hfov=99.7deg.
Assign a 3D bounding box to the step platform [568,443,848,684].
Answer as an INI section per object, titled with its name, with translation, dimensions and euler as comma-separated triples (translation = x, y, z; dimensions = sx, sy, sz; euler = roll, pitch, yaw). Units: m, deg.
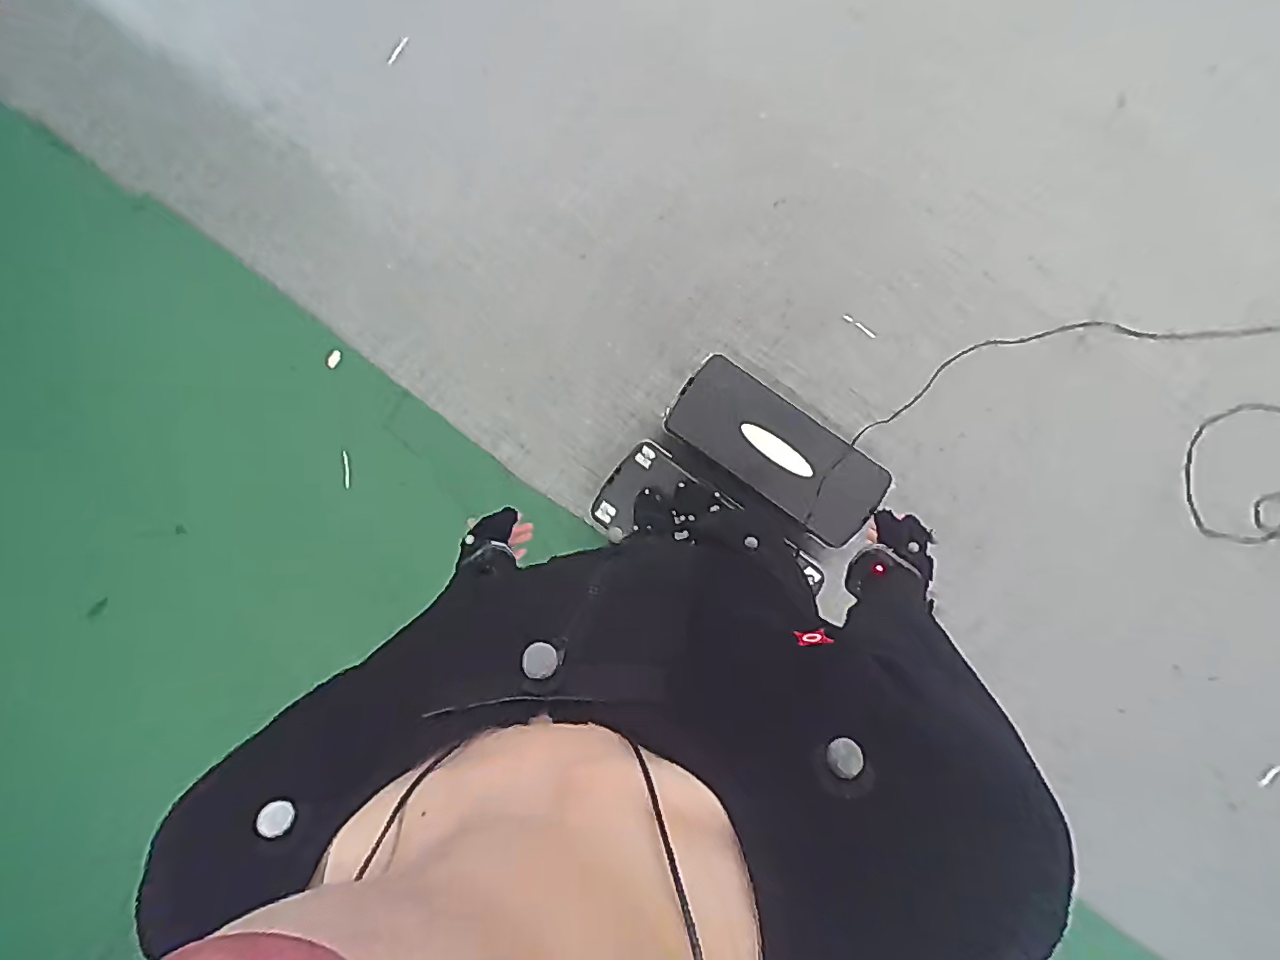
[step platform]
translation = 0.164, 0.197, 1.385
dimensions = 0.684, 0.204, 0.286
euler = 36, 93, 3
